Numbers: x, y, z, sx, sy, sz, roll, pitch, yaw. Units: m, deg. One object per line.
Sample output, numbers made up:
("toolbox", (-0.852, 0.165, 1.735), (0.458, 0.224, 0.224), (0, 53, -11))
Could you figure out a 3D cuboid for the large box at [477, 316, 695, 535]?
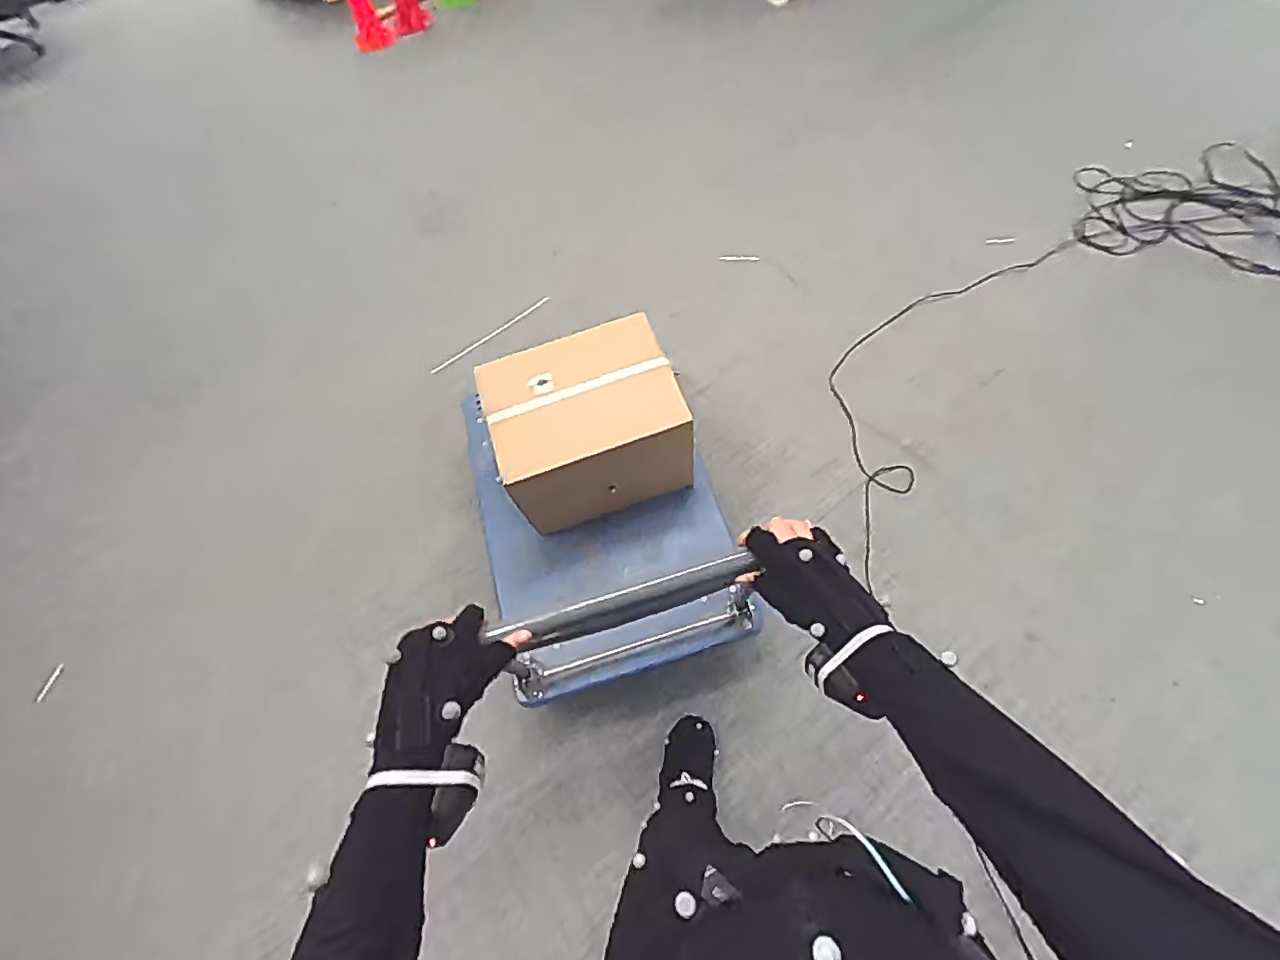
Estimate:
("large box", (-0.112, -0.116, 1.286), (0.408, 0.320, 0.320), (-20, 63, -2))
